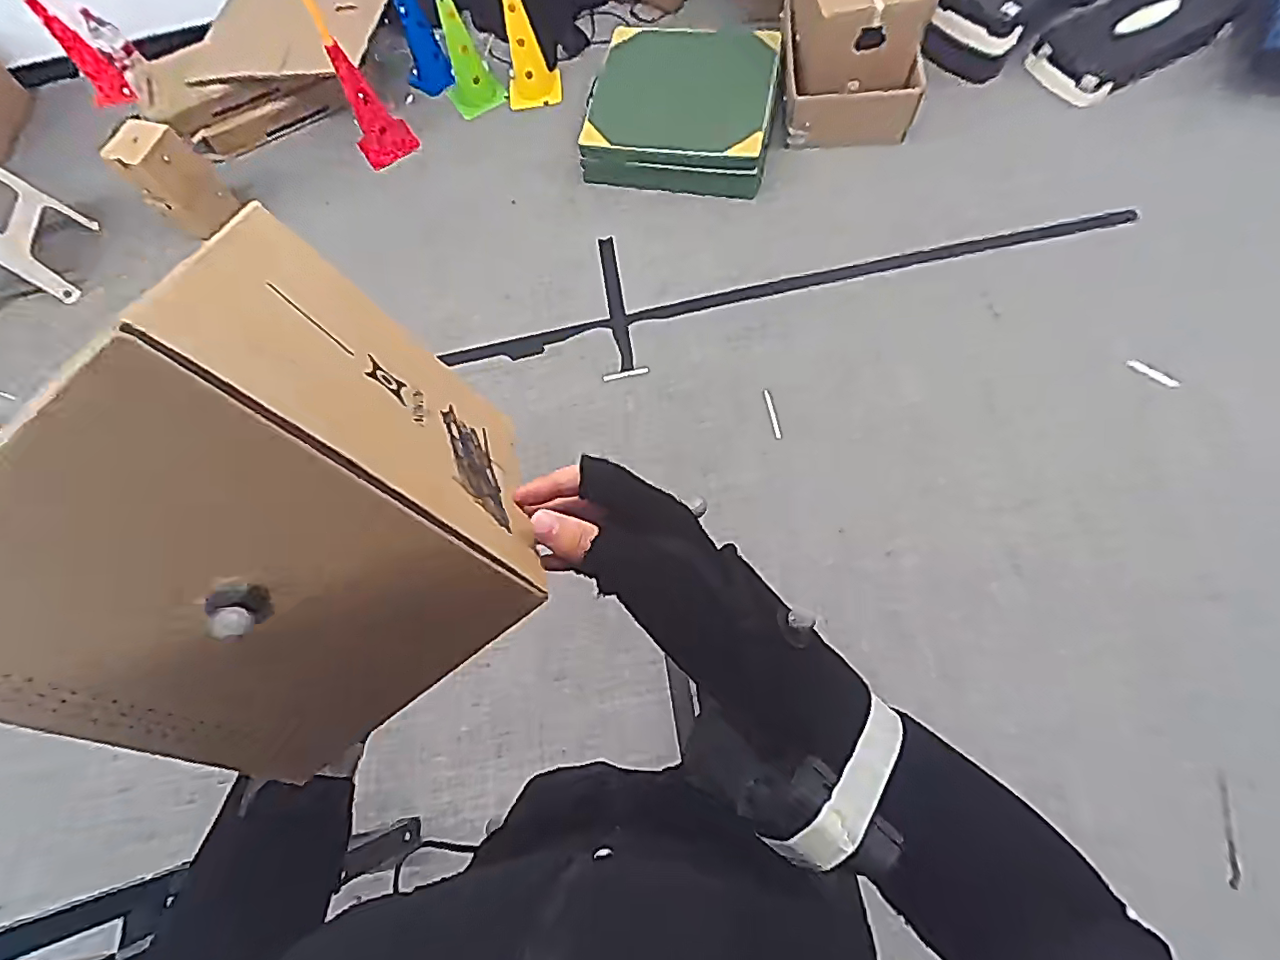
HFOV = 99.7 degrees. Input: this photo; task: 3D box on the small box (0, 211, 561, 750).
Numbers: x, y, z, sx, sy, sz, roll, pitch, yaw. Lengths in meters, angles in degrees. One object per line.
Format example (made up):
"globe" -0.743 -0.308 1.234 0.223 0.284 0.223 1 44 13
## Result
"small box" -0.172 0.007 0.276 0.176 0.179 0.168 -39 41 8
